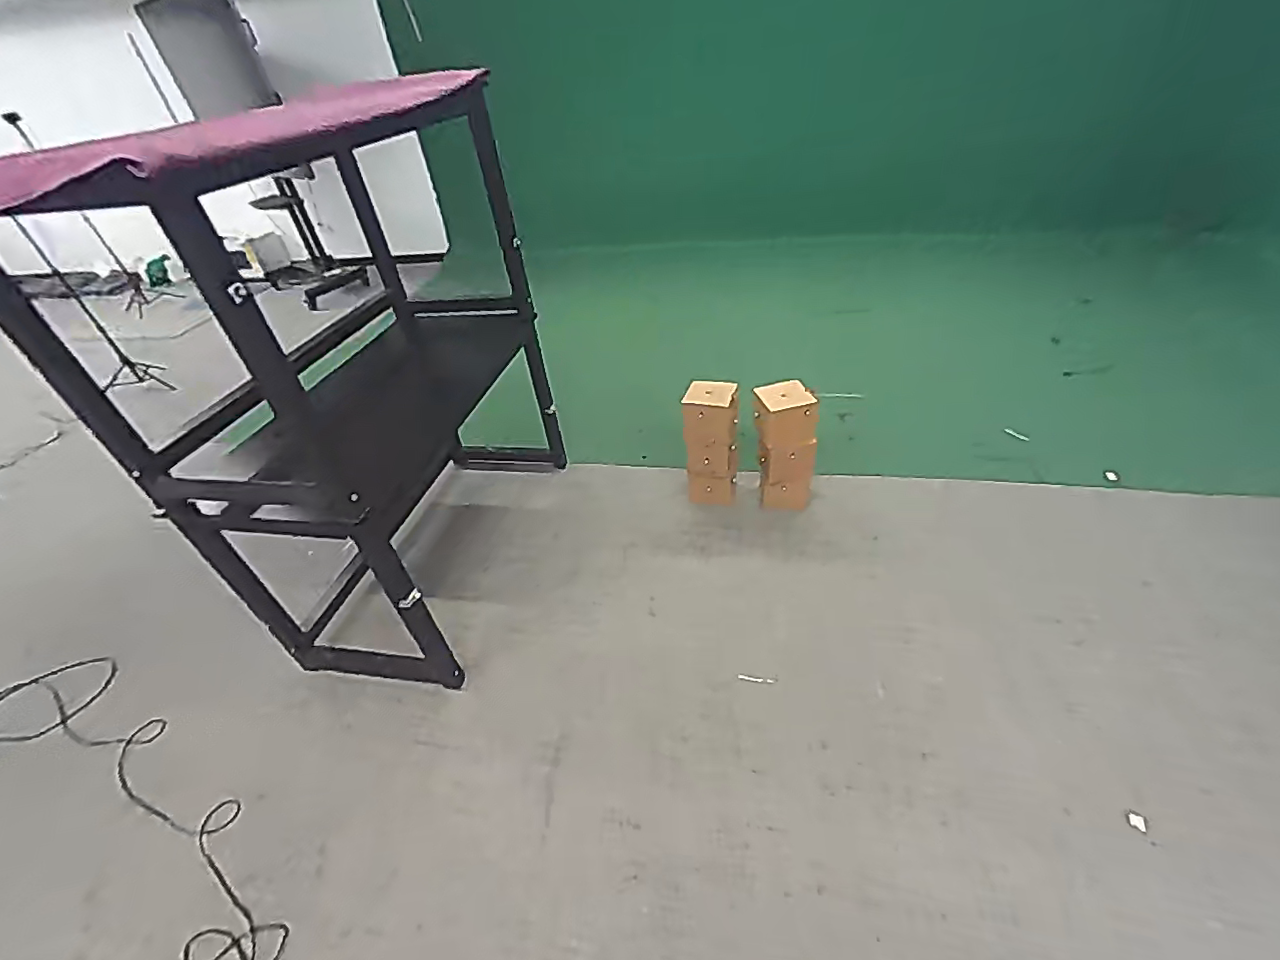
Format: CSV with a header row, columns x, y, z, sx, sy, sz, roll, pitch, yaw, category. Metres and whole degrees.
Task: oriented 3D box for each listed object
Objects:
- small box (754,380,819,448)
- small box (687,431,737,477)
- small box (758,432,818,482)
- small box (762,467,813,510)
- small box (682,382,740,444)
x,y,z,sx,sy,sz,roll,pitch,yaw,category
0.526,-0.236,1.960,0.179,0.176,0.168,-13,40,-7,small box
0.289,-0.129,2.126,0.168,0.176,0.179,6,42,18,small box
0.558,-0.108,2.057,0.179,0.176,0.168,-10,41,-3,small box
0.585,0.009,2.166,0.179,0.176,0.168,-1,40,7,small box
0.268,-0.249,2.013,0.179,0.176,0.168,8,42,20,small box
